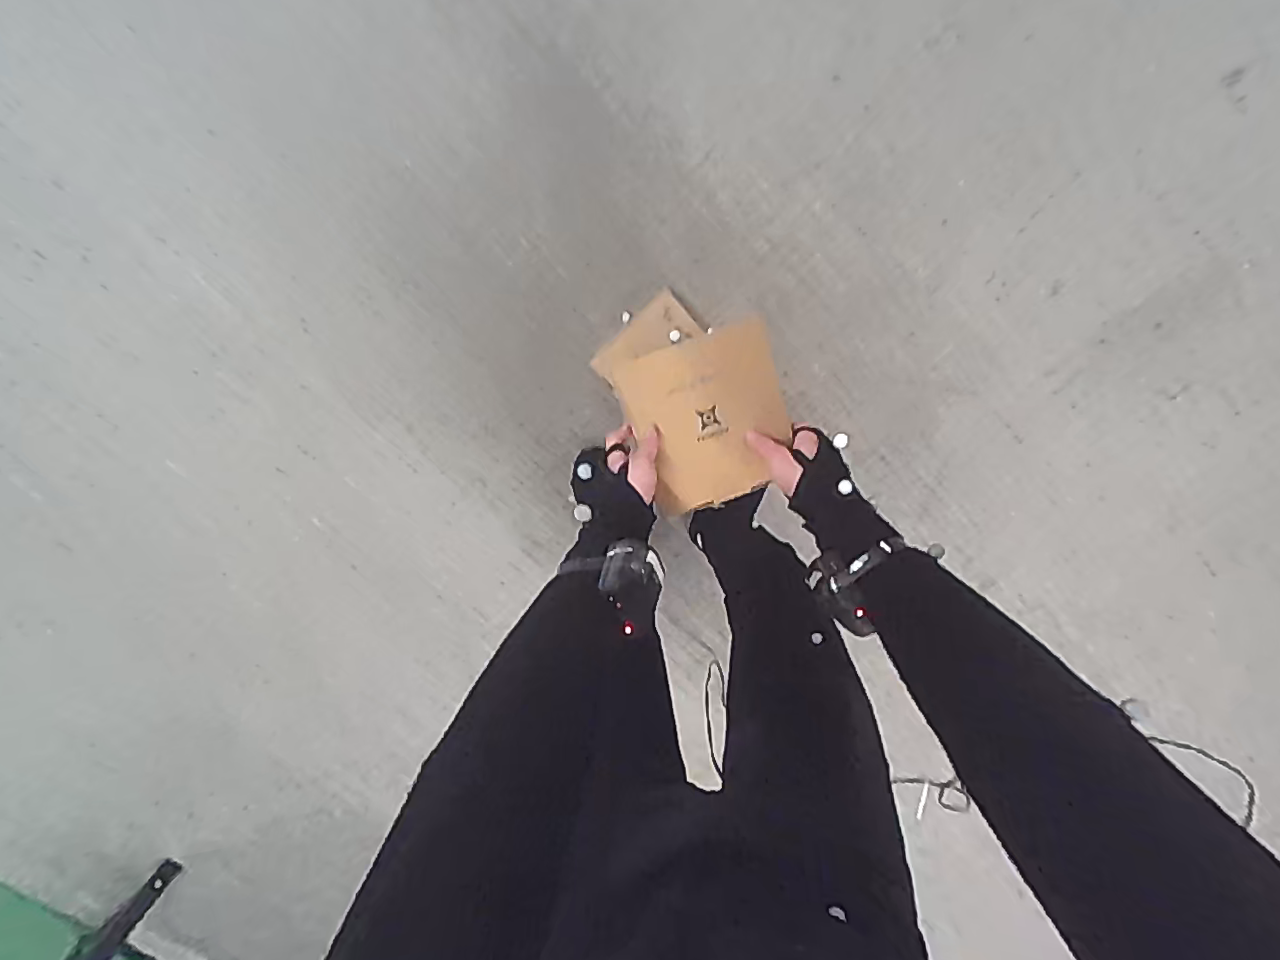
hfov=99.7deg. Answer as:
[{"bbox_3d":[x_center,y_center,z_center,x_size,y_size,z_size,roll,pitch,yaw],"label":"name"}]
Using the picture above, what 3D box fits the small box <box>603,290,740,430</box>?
[{"bbox_3d":[0.057,-0.221,0.983,0.179,0.176,0.168,-42,103,14],"label":"small box"}]
